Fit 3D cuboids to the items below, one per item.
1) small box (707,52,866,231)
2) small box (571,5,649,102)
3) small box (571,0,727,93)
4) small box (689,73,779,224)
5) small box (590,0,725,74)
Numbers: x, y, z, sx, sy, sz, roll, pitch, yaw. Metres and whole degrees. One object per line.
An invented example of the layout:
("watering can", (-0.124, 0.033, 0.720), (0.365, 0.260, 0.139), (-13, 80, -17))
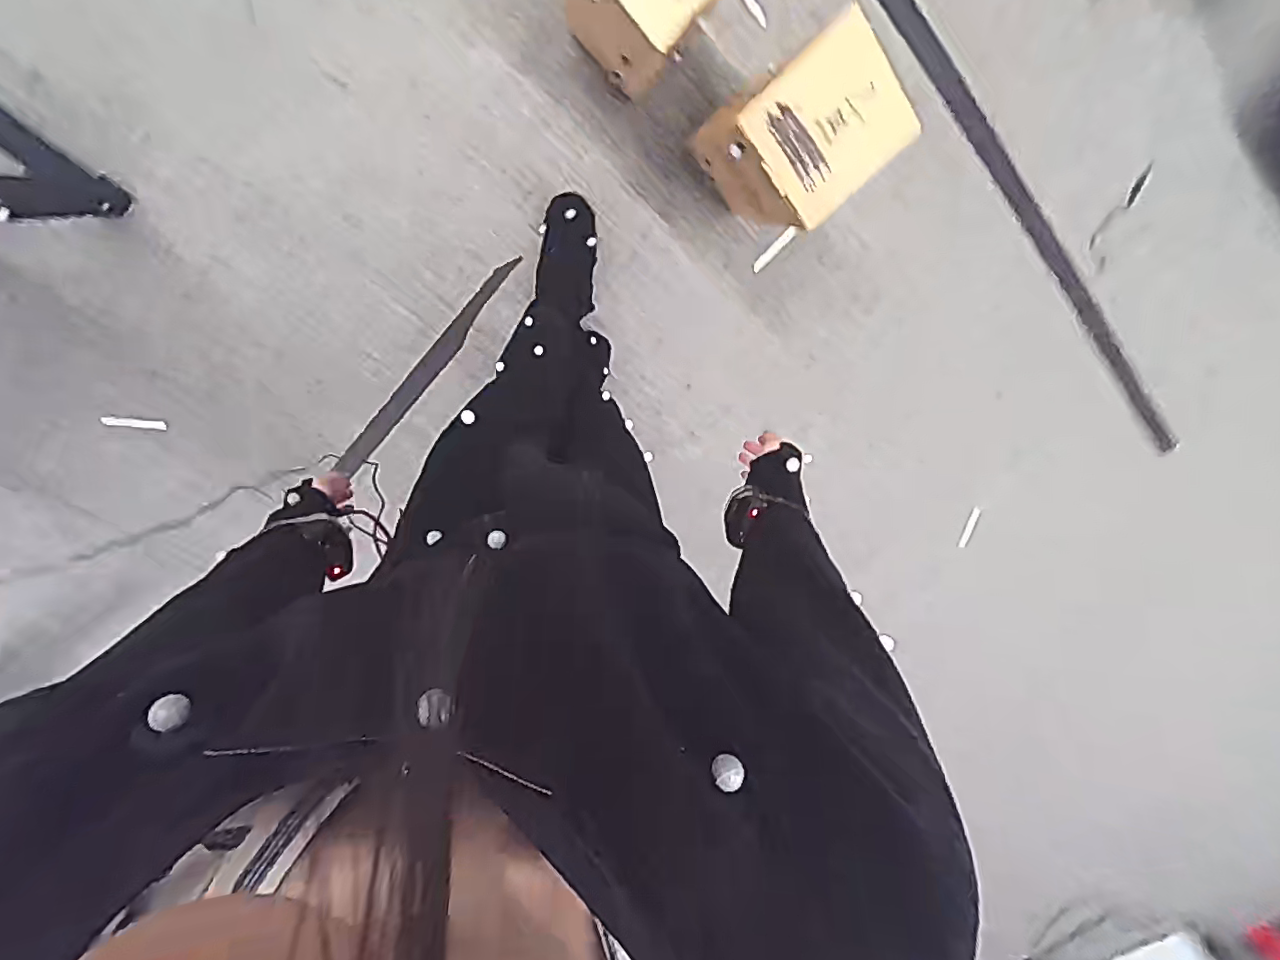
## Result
("small box", (0.226, -0.539, 0.887), (0.179, 0.176, 0.168), (-40, 114, 15))
("small box", (0.001, -0.789, 0.922), (0.168, 0.176, 0.179), (39, 108, -23))
("small box", (0.010, -0.706, 0.783), (0.179, 0.176, 0.168), (39, 108, -24))
("small box", (0.215, -0.622, 1.029), (0.168, 0.176, 0.179), (-38, 115, 15))
("small box", (0.023, -0.628, 0.638), (0.168, 0.176, 0.179), (-42, 115, 17))
